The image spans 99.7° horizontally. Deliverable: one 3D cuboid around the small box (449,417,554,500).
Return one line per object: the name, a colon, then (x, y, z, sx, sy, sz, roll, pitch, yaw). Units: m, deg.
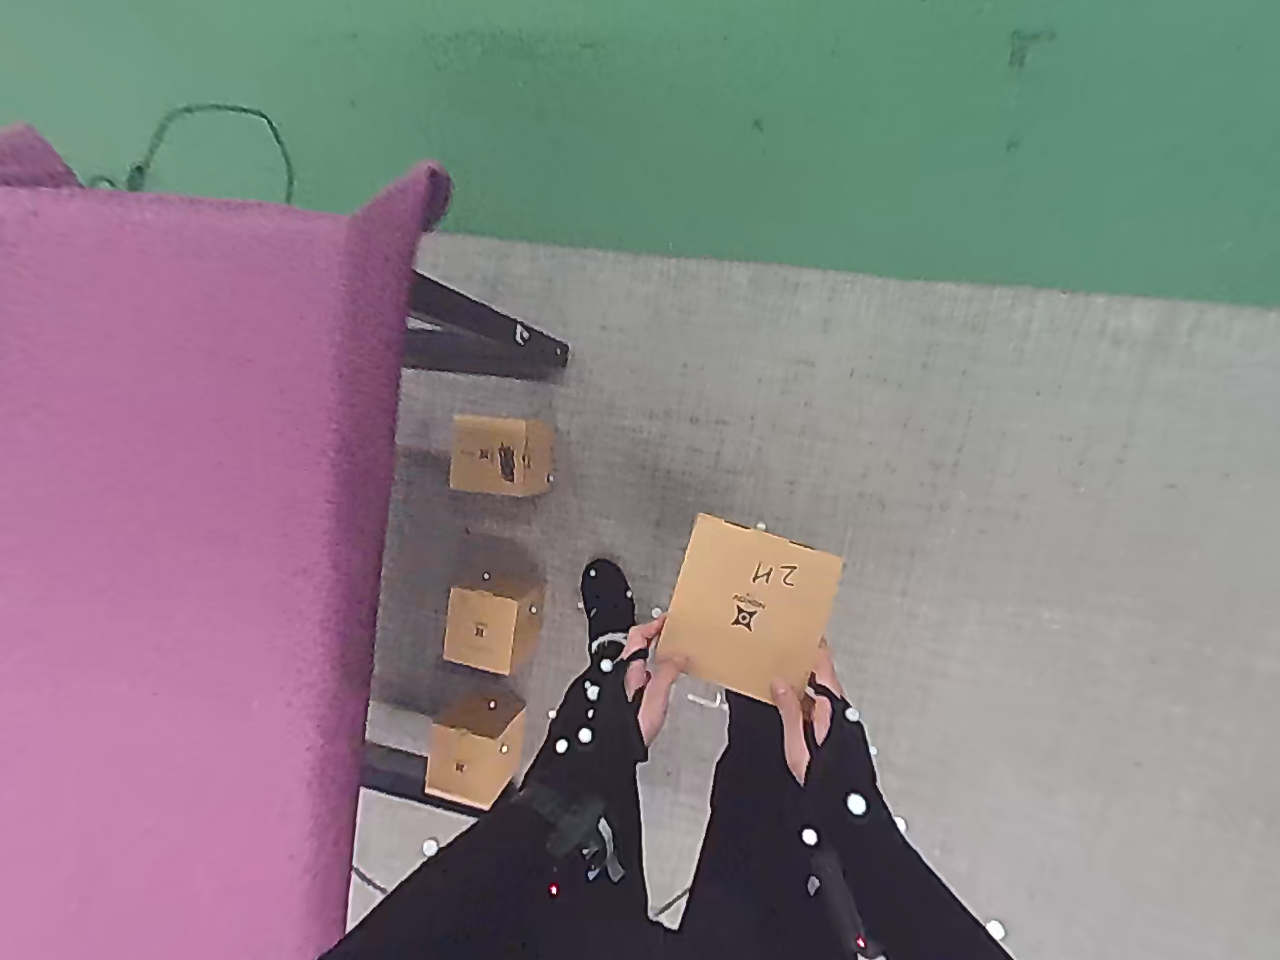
small box: (-0.308, -0.053, 1.228, 0.179, 0.176, 0.168, 6, 95, 13)

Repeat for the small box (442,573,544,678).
small box: (-0.335, 0.329, 1.263, 0.168, 0.176, 0.179, 10, 97, 12)

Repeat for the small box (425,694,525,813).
small box: (-0.390, 0.647, 1.298, 0.168, 0.176, 0.179, 8, 96, 11)

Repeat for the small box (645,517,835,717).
small box: (0.117, 0.155, 0.666, 0.168, 0.176, 0.179, 18, 86, 7)
